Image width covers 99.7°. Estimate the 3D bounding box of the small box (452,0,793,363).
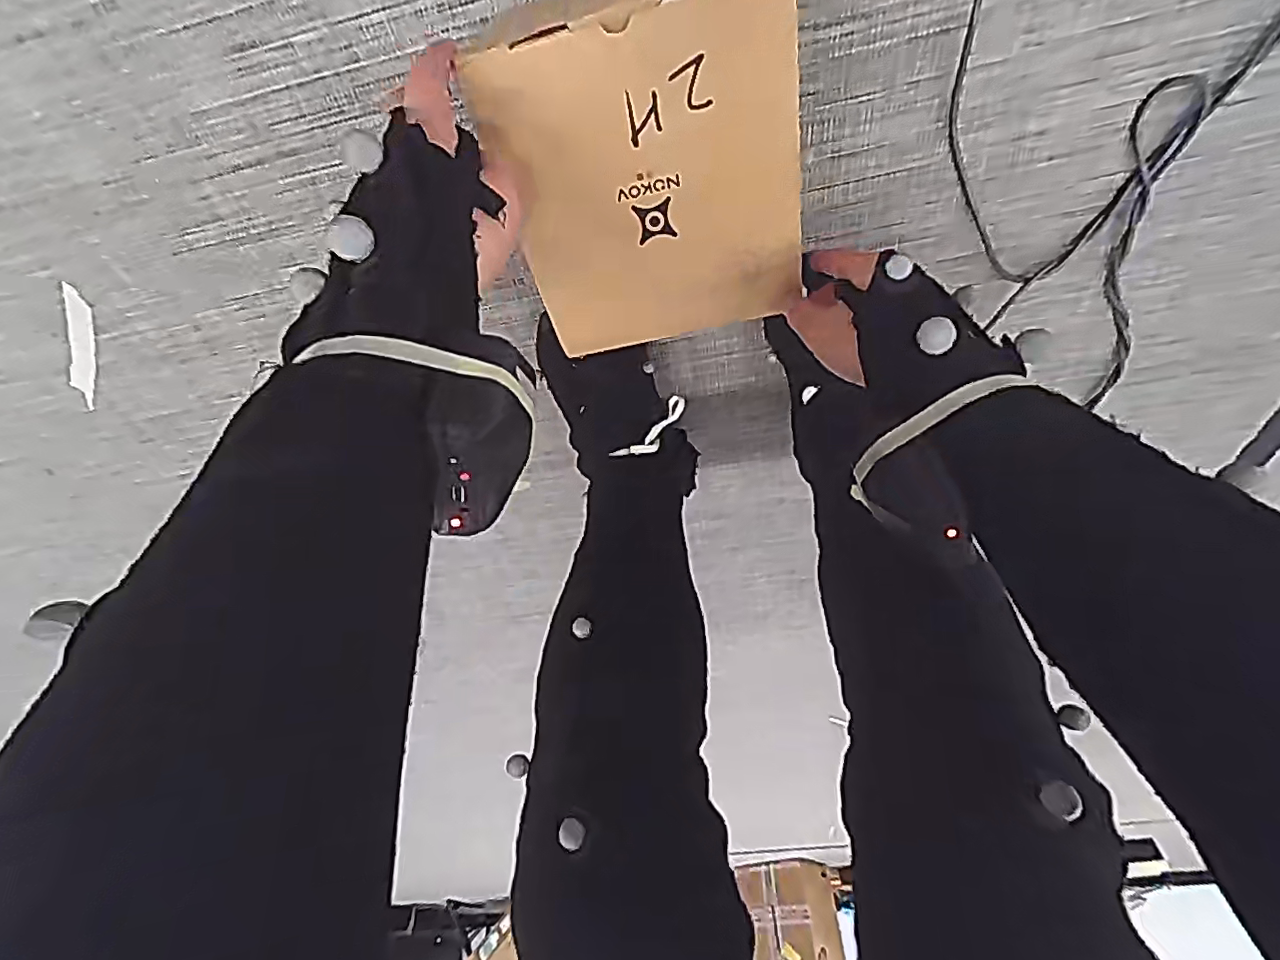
[{"bbox_3d":[0.004,-0.211,0.365,0.168,0.176,0.179,-10,136,9],"label":"small box"}]
